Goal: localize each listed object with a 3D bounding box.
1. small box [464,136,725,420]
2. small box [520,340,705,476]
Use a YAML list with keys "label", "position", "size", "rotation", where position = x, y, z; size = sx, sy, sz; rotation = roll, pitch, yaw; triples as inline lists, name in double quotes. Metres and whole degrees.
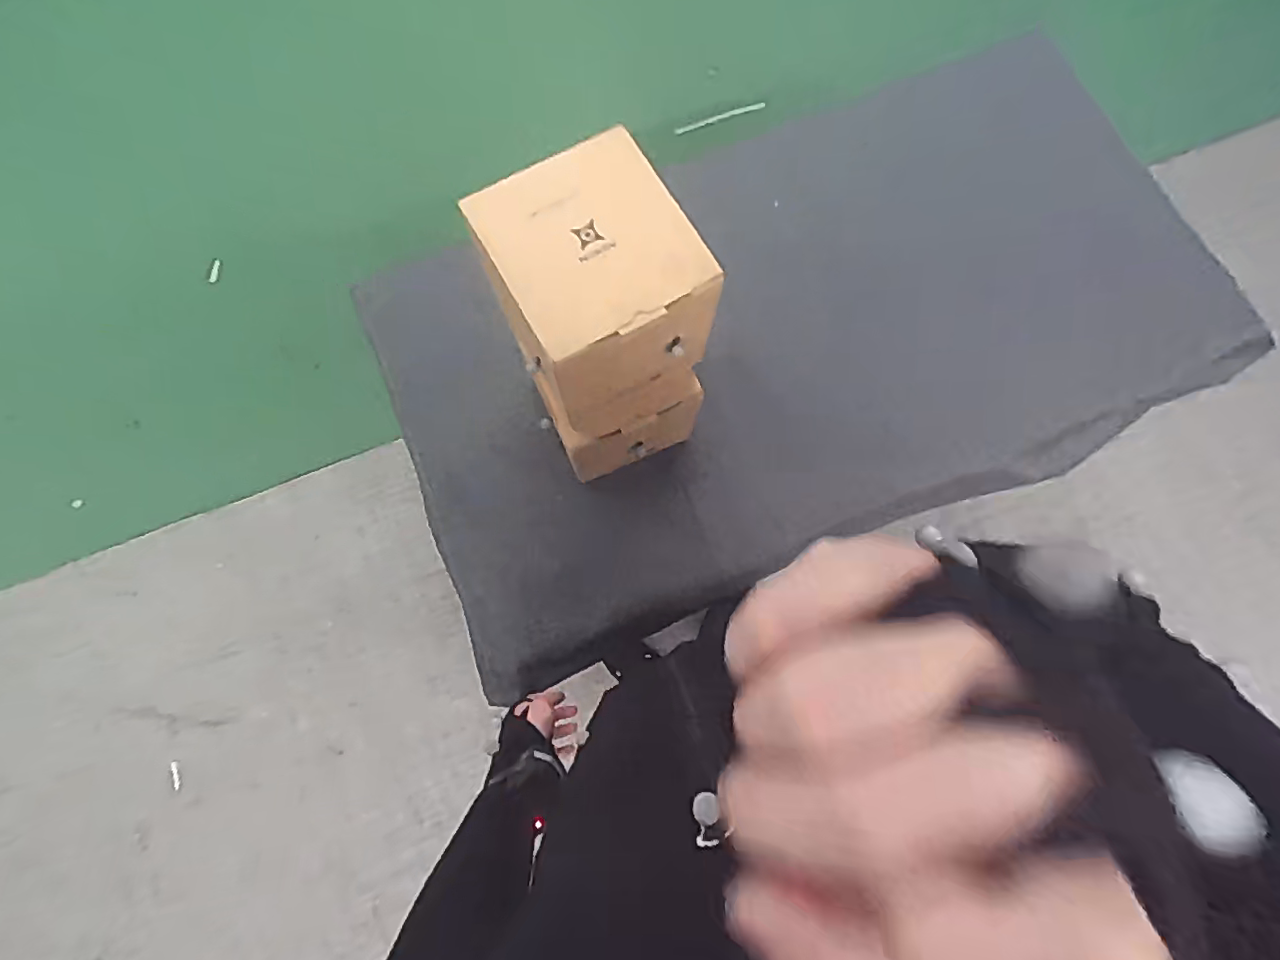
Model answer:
- label: "small box"
  position: [-0.040, -0.178, 0.533]
  size: [0.168, 0.176, 0.179]
  rotation: [-30, 78, -8]
- label: "small box"
  position: [-0.035, -0.116, 0.686]
  size: [0.168, 0.176, 0.179]
  rotation: [-24, 80, -7]
